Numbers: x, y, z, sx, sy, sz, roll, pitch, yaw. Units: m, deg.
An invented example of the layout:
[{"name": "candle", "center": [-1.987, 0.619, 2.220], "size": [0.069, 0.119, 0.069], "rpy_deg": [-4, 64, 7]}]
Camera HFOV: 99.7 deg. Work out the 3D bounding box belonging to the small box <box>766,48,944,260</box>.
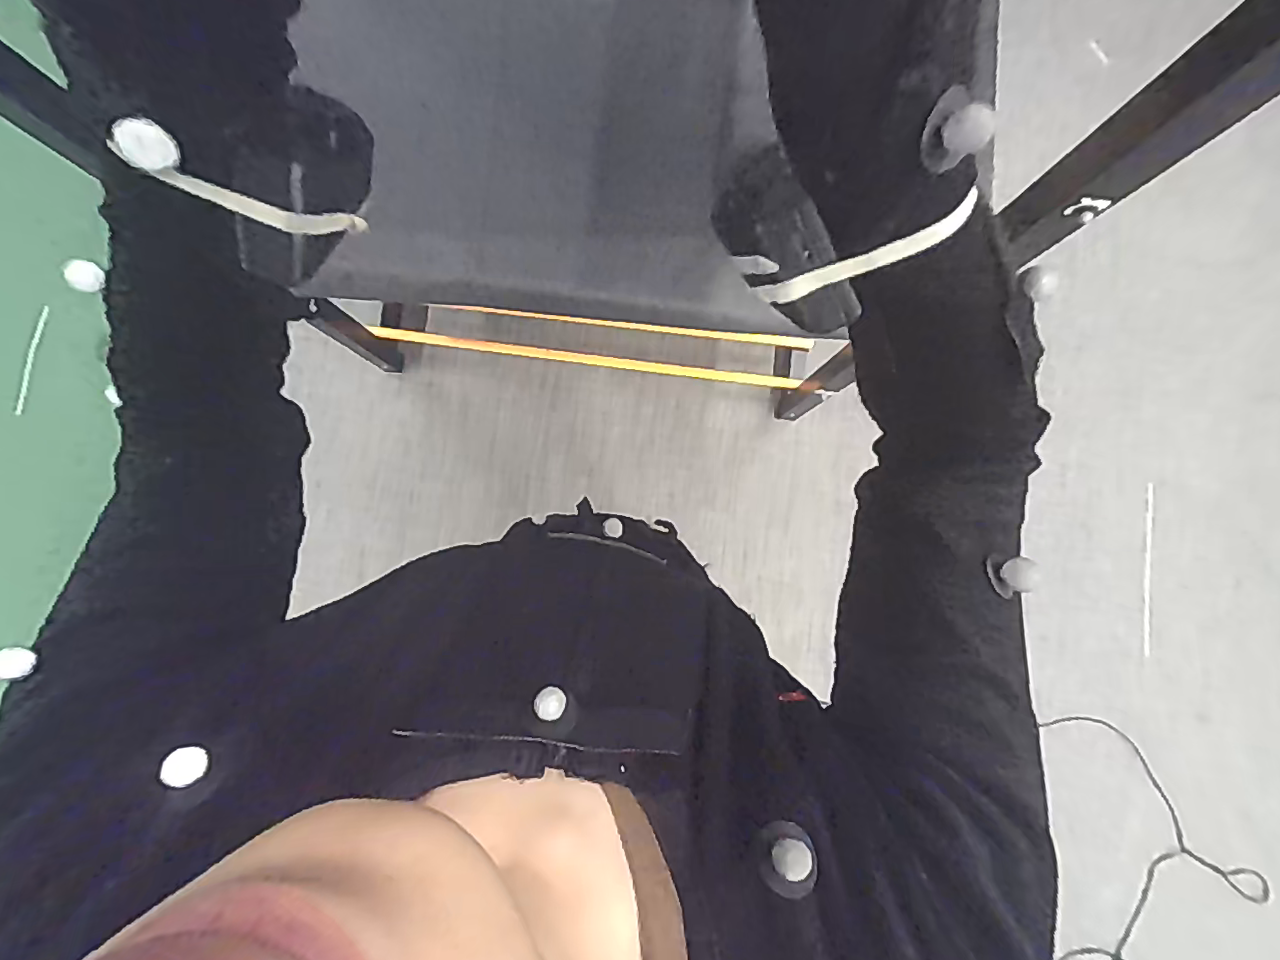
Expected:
[{"name": "small box", "center": [0.280, -0.429, 0.741], "size": [0.168, 0.176, 0.179], "rpy_deg": [10, 84, 0]}]
